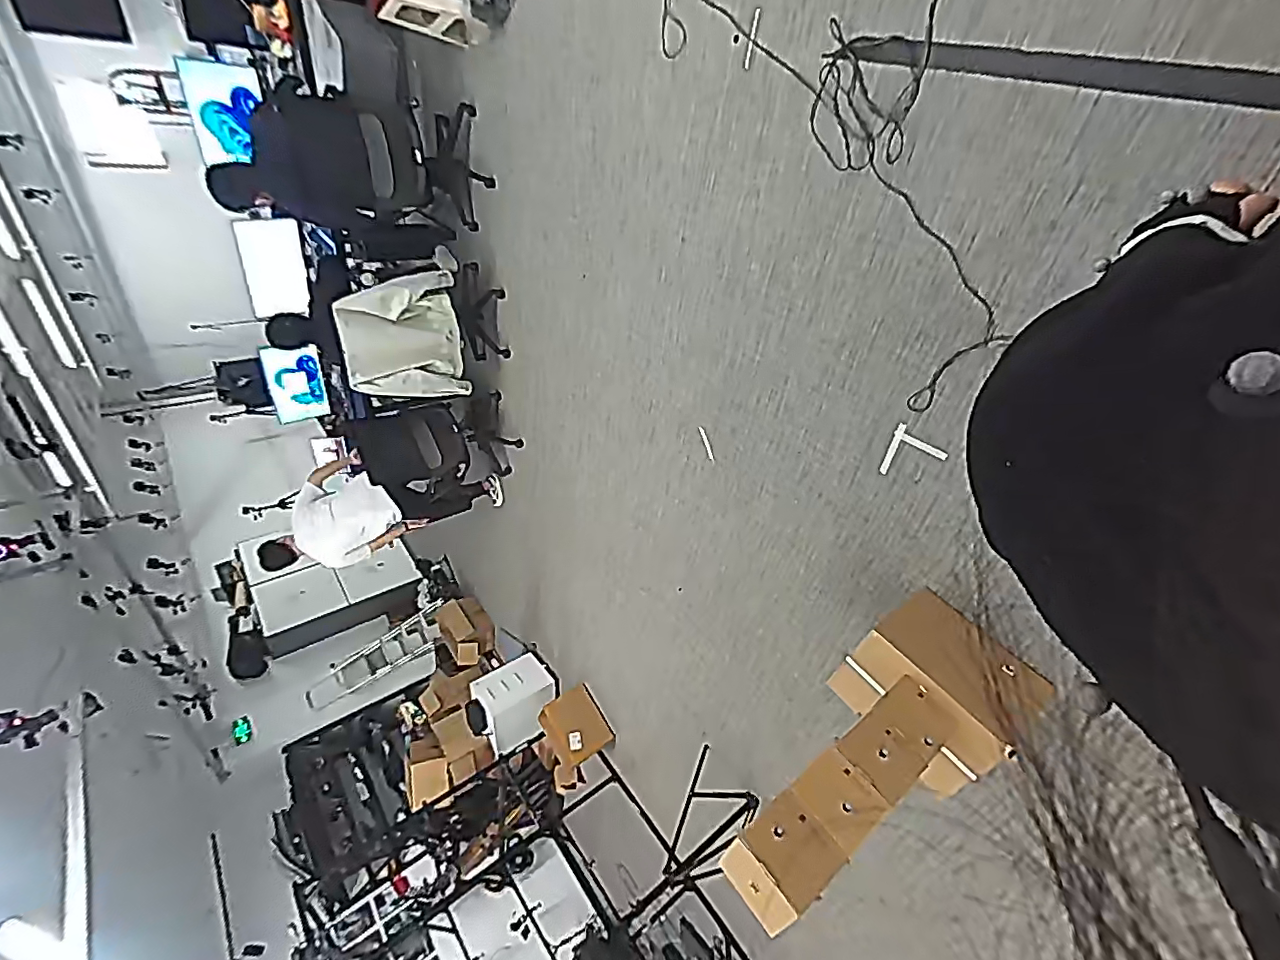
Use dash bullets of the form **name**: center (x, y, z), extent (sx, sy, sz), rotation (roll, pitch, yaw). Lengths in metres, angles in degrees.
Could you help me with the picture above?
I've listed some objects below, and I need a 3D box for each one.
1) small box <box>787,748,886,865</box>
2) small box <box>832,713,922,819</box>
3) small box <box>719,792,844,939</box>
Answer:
- **small box**: center (0.423, 0.751, 1.225), extent (0.168, 0.176, 0.179), rotation (43, 138, 33)
- **small box**: center (0.551, 0.707, 1.318), extent (0.168, 0.176, 0.179), rotation (45, 138, 32)
- **small box**: center (0.297, 0.802, 1.137), extent (0.168, 0.176, 0.179), rotation (43, 140, 34)
